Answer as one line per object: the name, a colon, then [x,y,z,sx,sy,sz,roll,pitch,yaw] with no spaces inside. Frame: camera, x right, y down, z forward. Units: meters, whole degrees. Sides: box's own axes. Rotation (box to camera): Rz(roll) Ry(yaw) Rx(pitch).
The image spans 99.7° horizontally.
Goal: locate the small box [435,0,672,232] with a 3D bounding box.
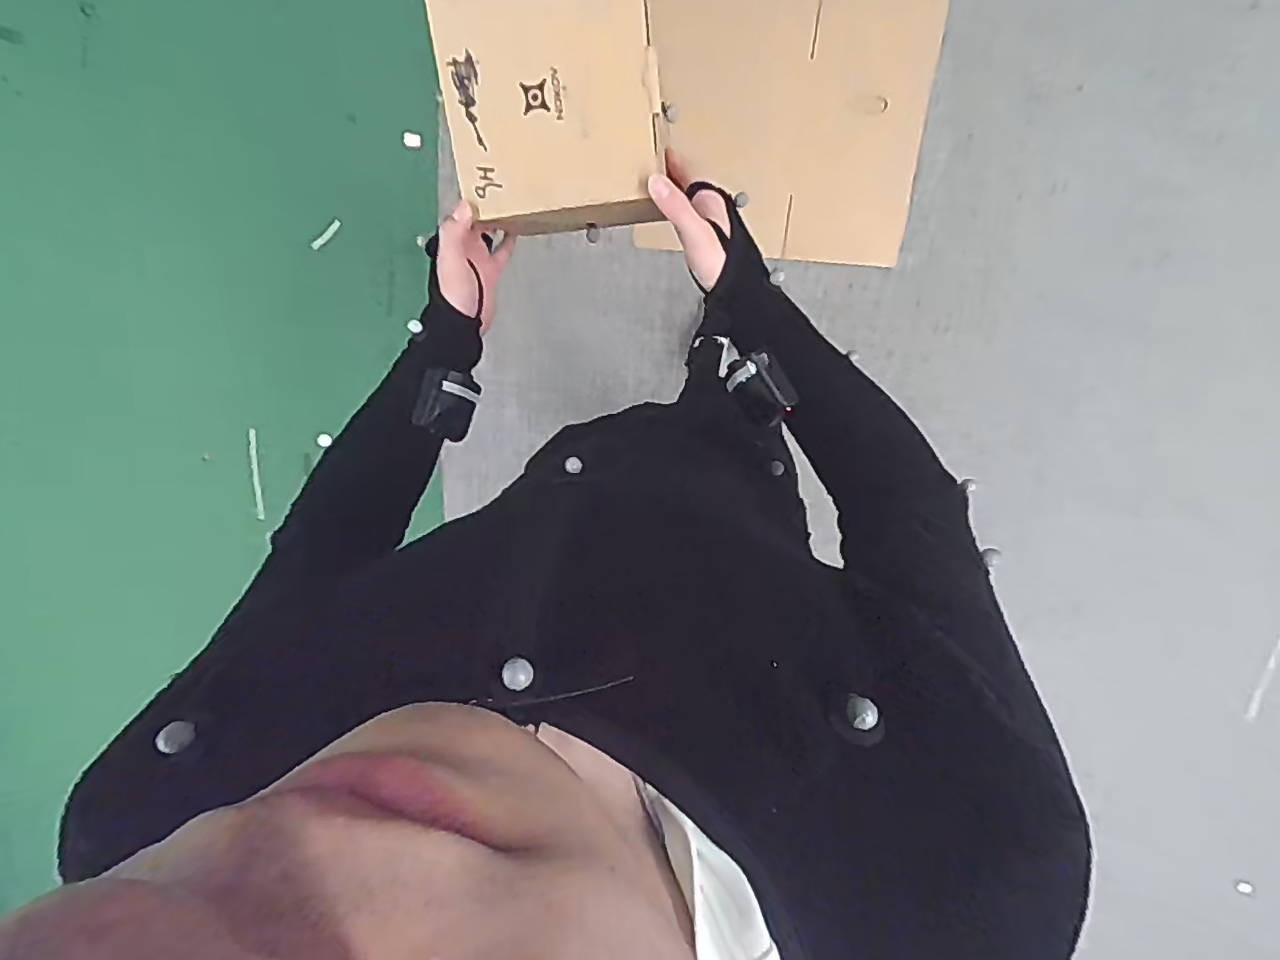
small box: [-0.061,-0.338,0.511,0.179,0.176,0.168,-3,109,8]
